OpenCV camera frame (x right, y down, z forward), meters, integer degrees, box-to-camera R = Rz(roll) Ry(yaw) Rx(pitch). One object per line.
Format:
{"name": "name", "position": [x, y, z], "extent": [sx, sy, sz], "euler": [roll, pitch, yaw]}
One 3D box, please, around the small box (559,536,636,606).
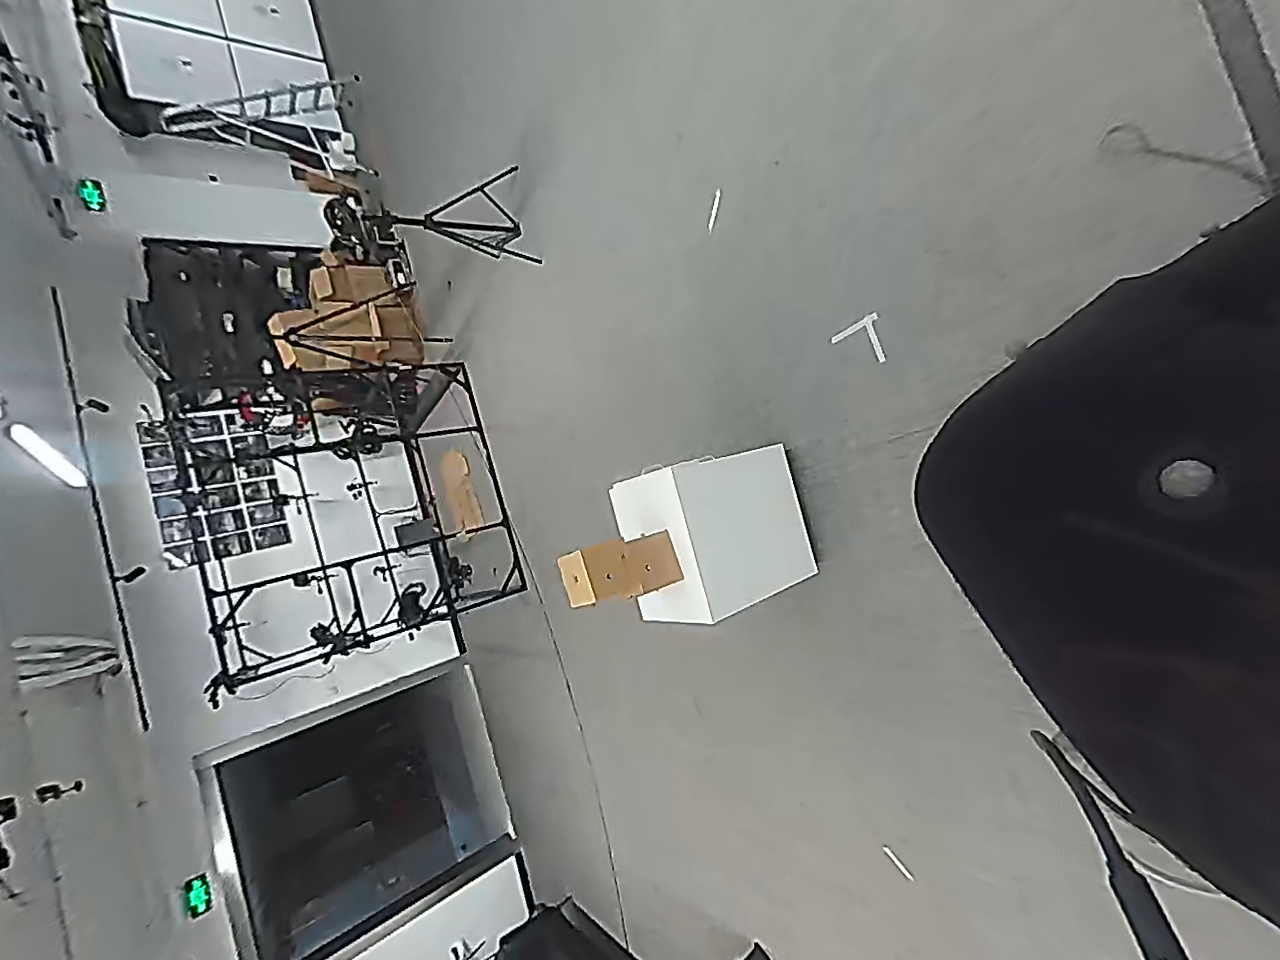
{"name": "small box", "position": [-0.128, 0.288, 1.718], "extent": [0.179, 0.176, 0.168], "euler": [-29, 77, 55]}

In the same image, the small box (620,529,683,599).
{"name": "small box", "position": [0.017, 0.278, 1.796], "extent": [0.168, 0.176, 0.179], "euler": [-30, 76, 53]}
